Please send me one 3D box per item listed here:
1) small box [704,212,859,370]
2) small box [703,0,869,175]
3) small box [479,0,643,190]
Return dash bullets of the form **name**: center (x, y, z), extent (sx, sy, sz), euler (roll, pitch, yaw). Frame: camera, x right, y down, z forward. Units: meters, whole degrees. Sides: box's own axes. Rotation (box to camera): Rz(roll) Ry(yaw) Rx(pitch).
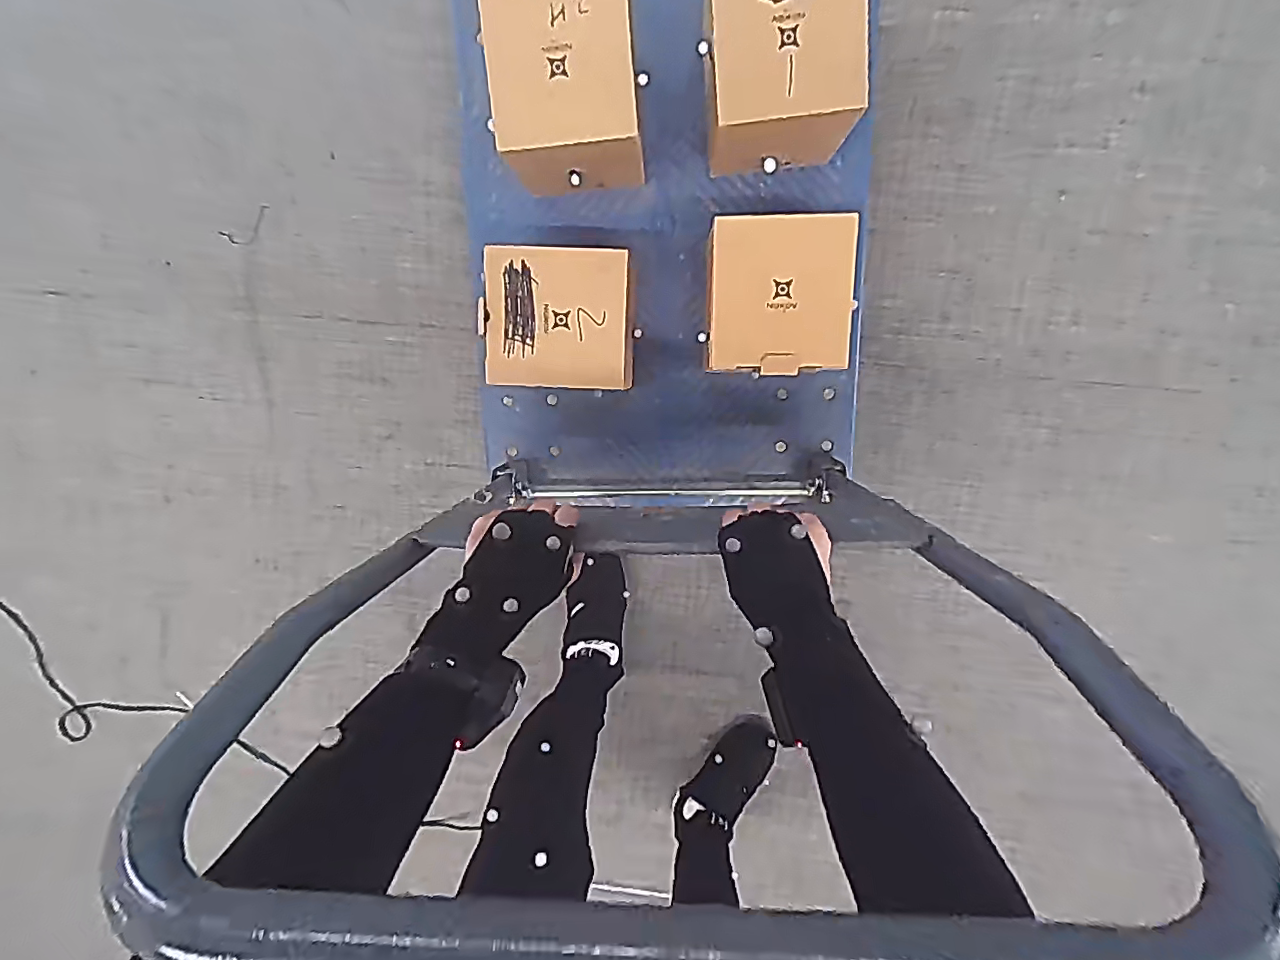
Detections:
- **small box**: center (0.172, -0.235, 0.712), extent (0.168, 0.176, 0.179), euler (0, 102, 3)
- **small box**: center (0.166, -0.500, 0.657), extent (0.168, 0.176, 0.179), euler (-4, 102, 5)
- **small box**: center (-0.086, -0.481, 0.676), extent (0.168, 0.176, 0.179), euler (-4, 101, 3)
